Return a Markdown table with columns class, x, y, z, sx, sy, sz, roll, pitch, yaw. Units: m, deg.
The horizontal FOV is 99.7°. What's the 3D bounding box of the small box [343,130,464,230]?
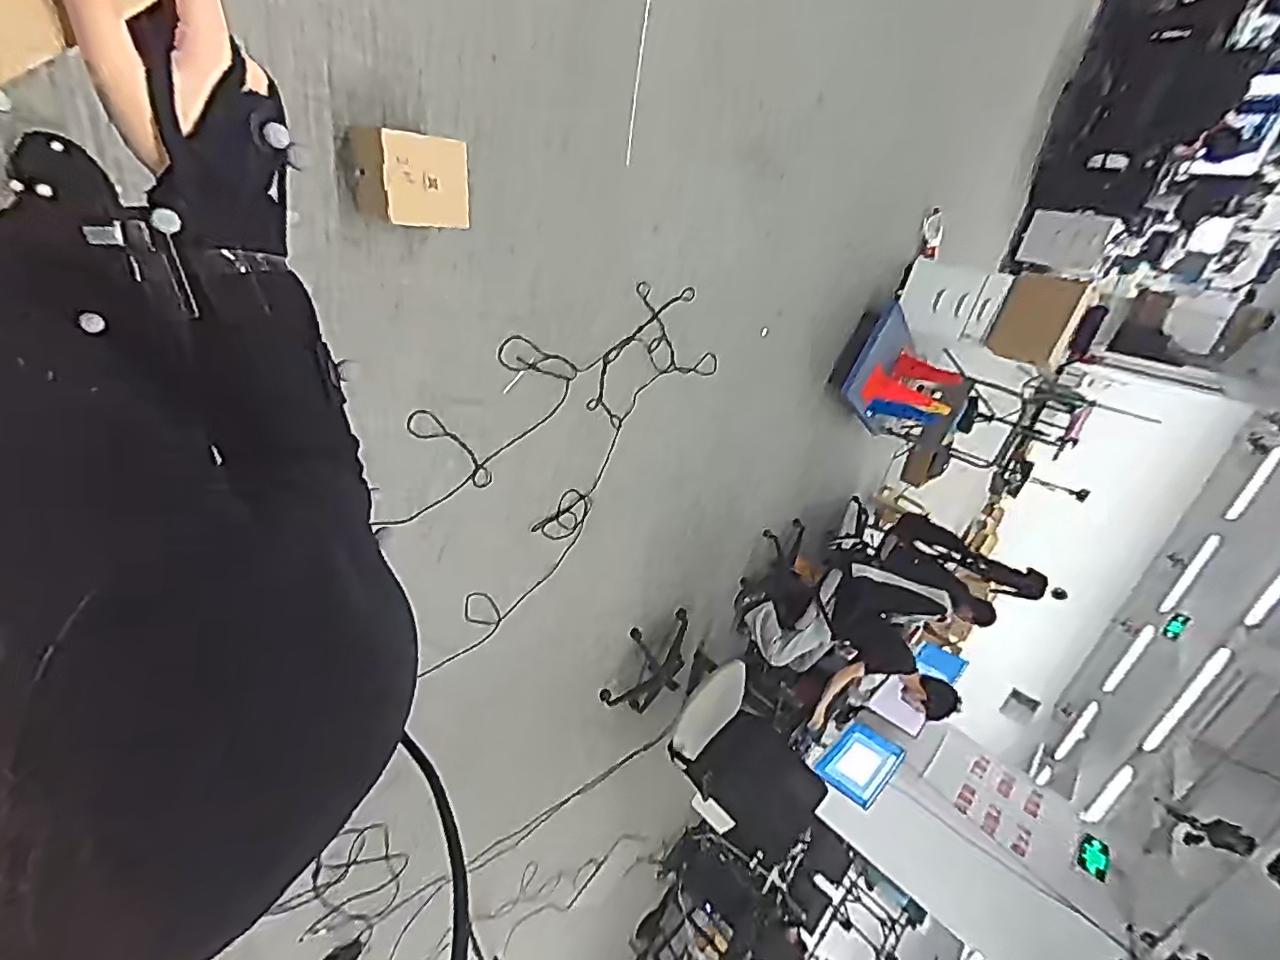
| class | x | y | z | sx | sy | sz | roll | pitch | yaw |
| --- | --- | --- | --- | --- | --- | --- | --- | --- | --- |
| small box | -0.494 | -0.630 | 1.138 | 0.179 | 0.176 | 0.168 | -20 | 128 | -41 |
